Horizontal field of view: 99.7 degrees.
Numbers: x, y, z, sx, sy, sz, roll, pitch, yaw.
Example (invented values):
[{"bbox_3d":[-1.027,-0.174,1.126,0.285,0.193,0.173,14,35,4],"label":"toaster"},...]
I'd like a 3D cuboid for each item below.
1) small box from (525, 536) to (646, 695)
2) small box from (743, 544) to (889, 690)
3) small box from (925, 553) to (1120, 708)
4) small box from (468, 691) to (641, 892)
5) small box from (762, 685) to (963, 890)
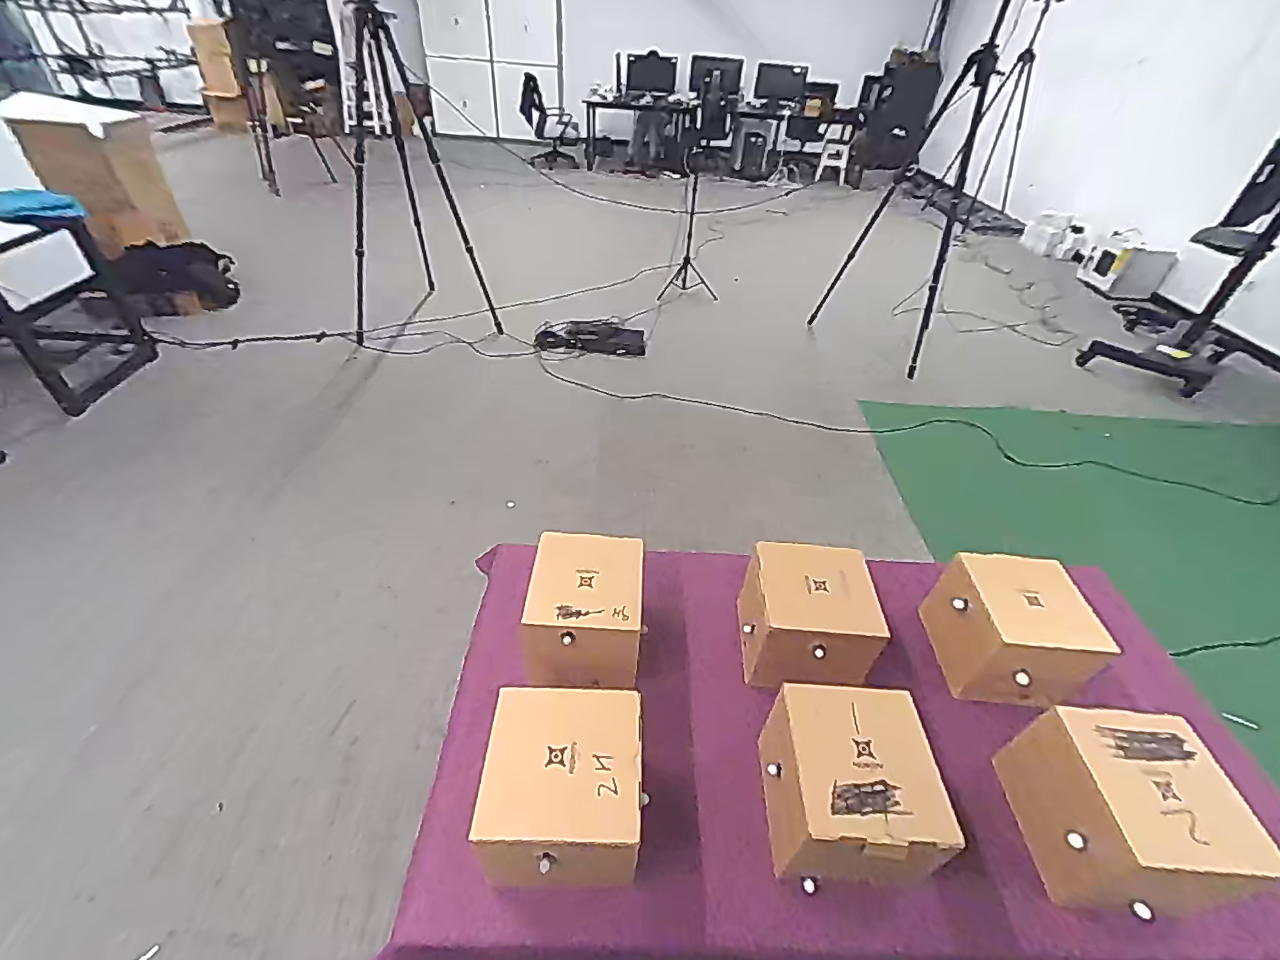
[{"bbox_3d":[-0.080,0.212,0.854,0.168,0.176,0.179,3,40,-1],"label":"small box"},{"bbox_3d":[0.265,0.225,0.867,0.179,0.176,0.168,5,41,1],"label":"small box"},{"bbox_3d":[0.593,0.243,0.868,0.168,0.176,0.179,4,39,2],"label":"small box"},{"bbox_3d":[-0.089,0.377,0.655,0.179,0.176,0.168,3,40,-2],"label":"small box"},{"bbox_3d":[0.256,0.383,0.674,0.168,0.176,0.179,4,39,0],"label":"small box"}]
